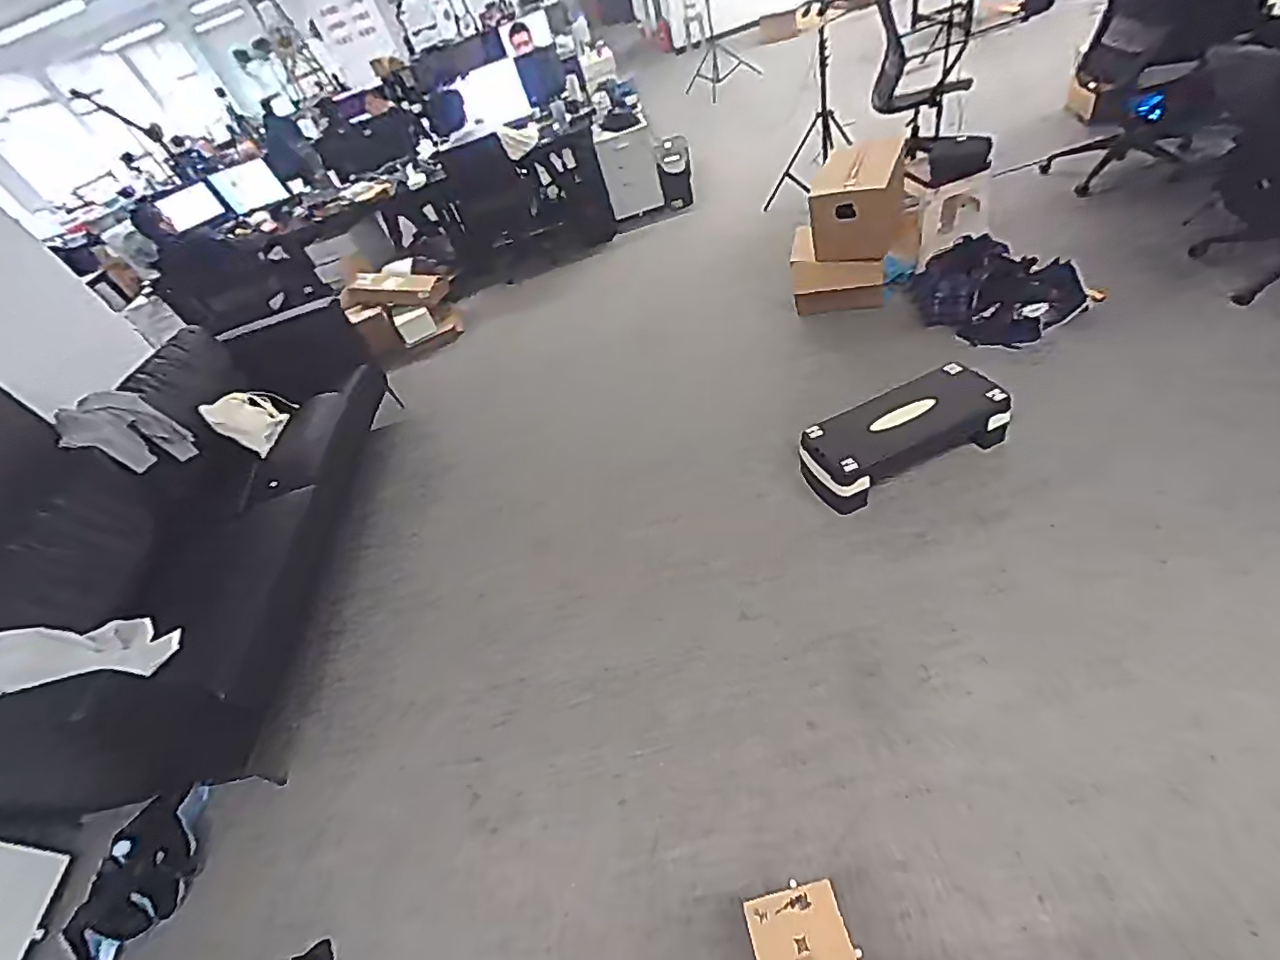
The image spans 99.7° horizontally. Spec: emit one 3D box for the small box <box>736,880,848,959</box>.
[{"bbox_3d":[0.289,0.864,0.987,0.168,0.176,0.179,-18,44,4],"label":"small box"}]
